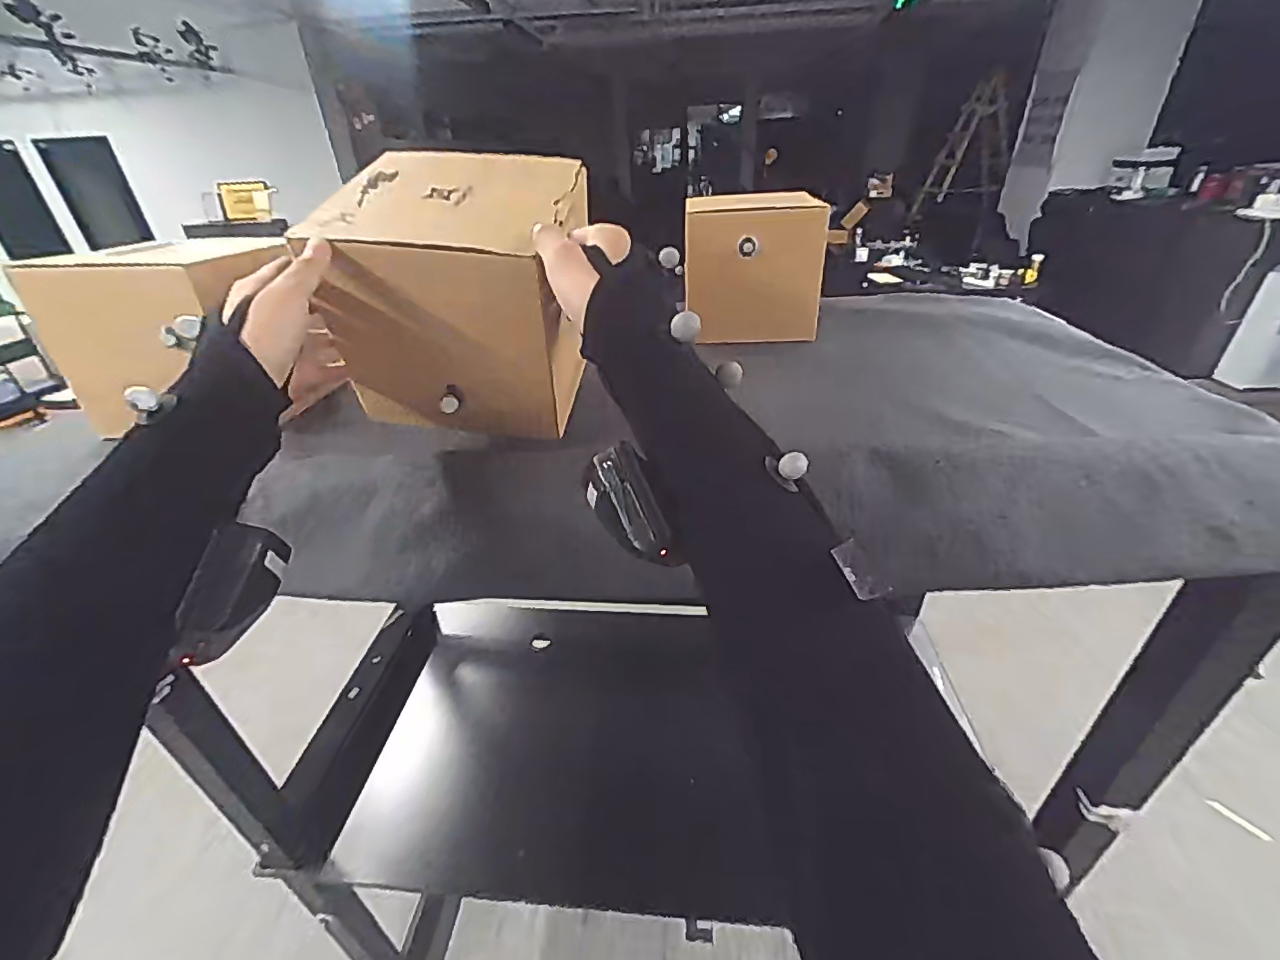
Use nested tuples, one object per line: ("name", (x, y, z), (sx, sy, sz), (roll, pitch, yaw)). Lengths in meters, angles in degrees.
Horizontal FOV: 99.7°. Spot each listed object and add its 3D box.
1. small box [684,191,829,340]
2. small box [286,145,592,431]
("small box", (0.153, -0.302, 0.761), (0.179, 0.176, 0.168), (1, 33, 6))
("small box", (-0.142, -0.160, 0.465), (0.179, 0.176, 0.168), (7, 49, 4))
